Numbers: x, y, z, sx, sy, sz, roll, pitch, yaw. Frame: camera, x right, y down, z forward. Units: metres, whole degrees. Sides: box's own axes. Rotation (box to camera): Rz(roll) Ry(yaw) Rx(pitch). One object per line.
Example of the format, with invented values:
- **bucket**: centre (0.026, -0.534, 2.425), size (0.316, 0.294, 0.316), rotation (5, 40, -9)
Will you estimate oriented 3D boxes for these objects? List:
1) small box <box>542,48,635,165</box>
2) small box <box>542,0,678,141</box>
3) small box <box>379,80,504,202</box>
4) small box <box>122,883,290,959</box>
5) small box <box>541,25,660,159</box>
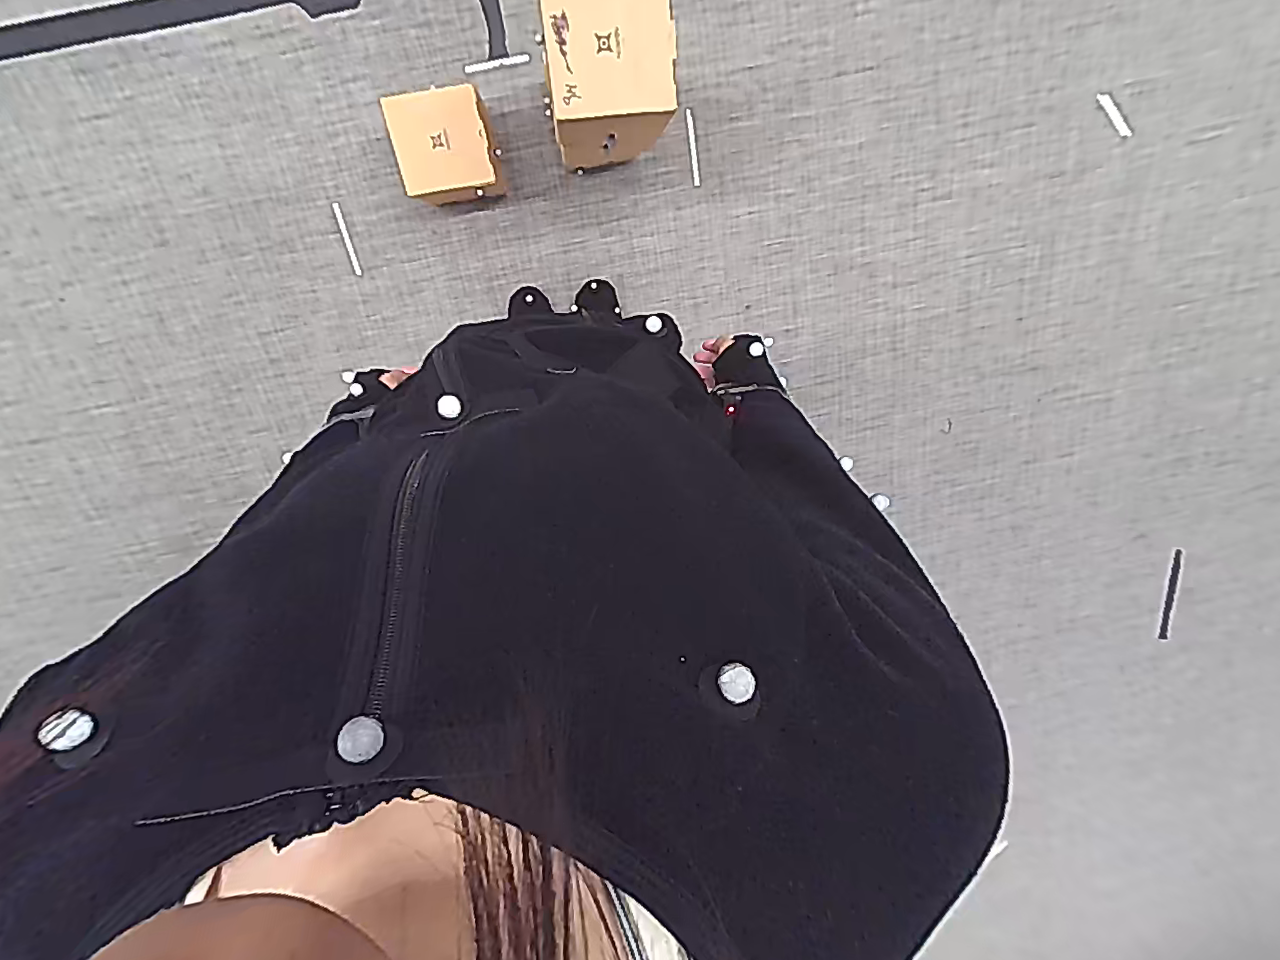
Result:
- **small box**: centre (-0.095, -0.754, 1.094), size (0.168, 0.176, 0.179), rotation (-12, 112, -3)
- **small box**: centre (-0.049, -0.615, 0.798), size (0.179, 0.176, 0.168), rotation (-7, 112, -5)
- **small box**: centre (-0.388, -0.672, 1.091), size (0.179, 0.176, 0.168), rotation (-11, 112, -3)
- **small box**: centre (-0.680, 0.766, 0.833), size (0.179, 0.176, 0.168), rotation (-12, 112, -1)
- **small box**: centre (-0.068, -0.679, 0.948), size (0.179, 0.176, 0.168), rotation (-10, 113, -4)
